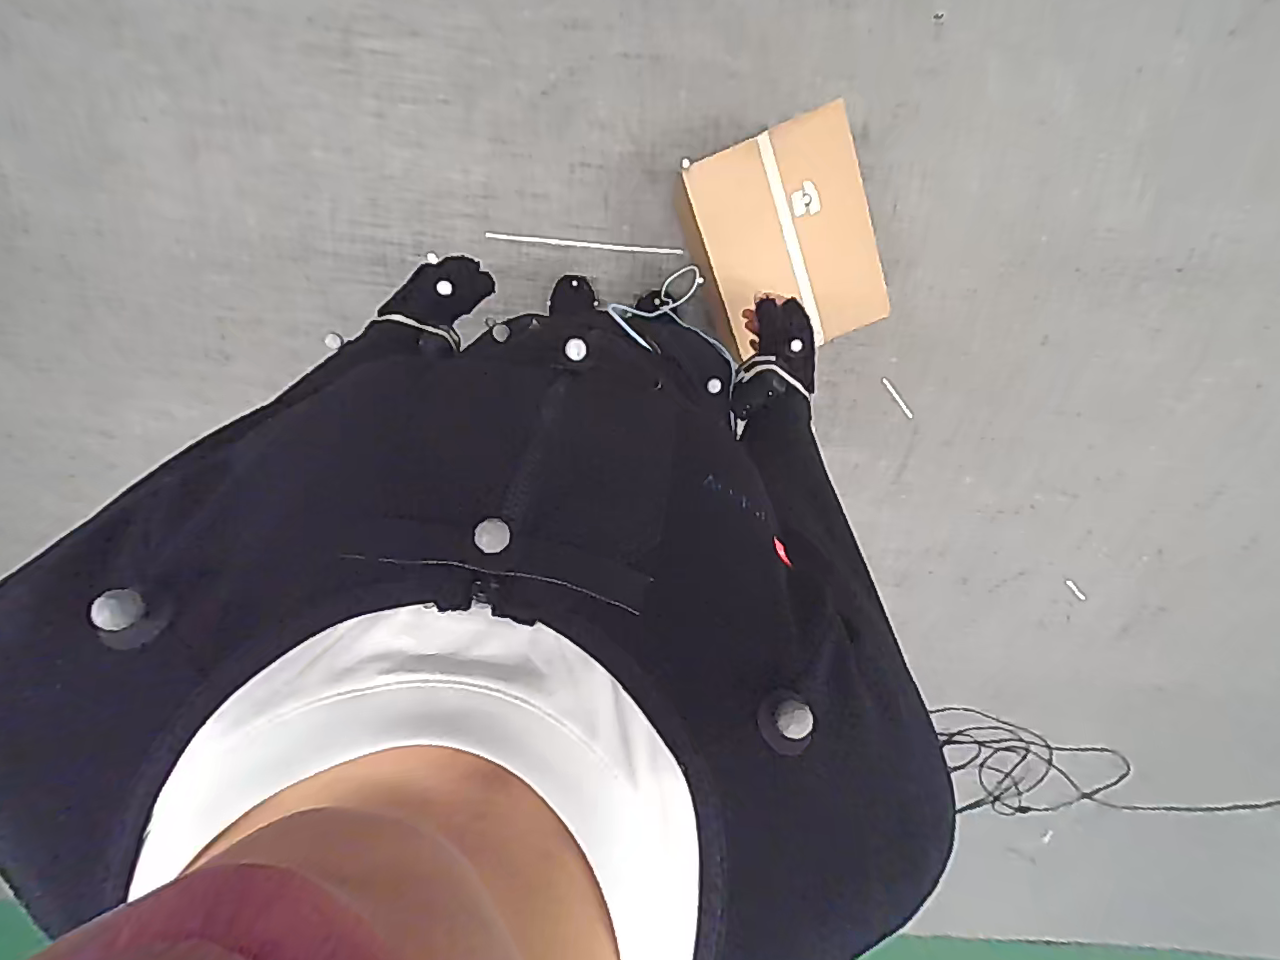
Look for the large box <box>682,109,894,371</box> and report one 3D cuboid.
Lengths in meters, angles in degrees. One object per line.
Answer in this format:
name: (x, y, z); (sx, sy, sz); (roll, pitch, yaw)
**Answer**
large box: (0.308, -0.502, 1.202); (0.320, 0.320, 0.408); (-20, 108, 7)
